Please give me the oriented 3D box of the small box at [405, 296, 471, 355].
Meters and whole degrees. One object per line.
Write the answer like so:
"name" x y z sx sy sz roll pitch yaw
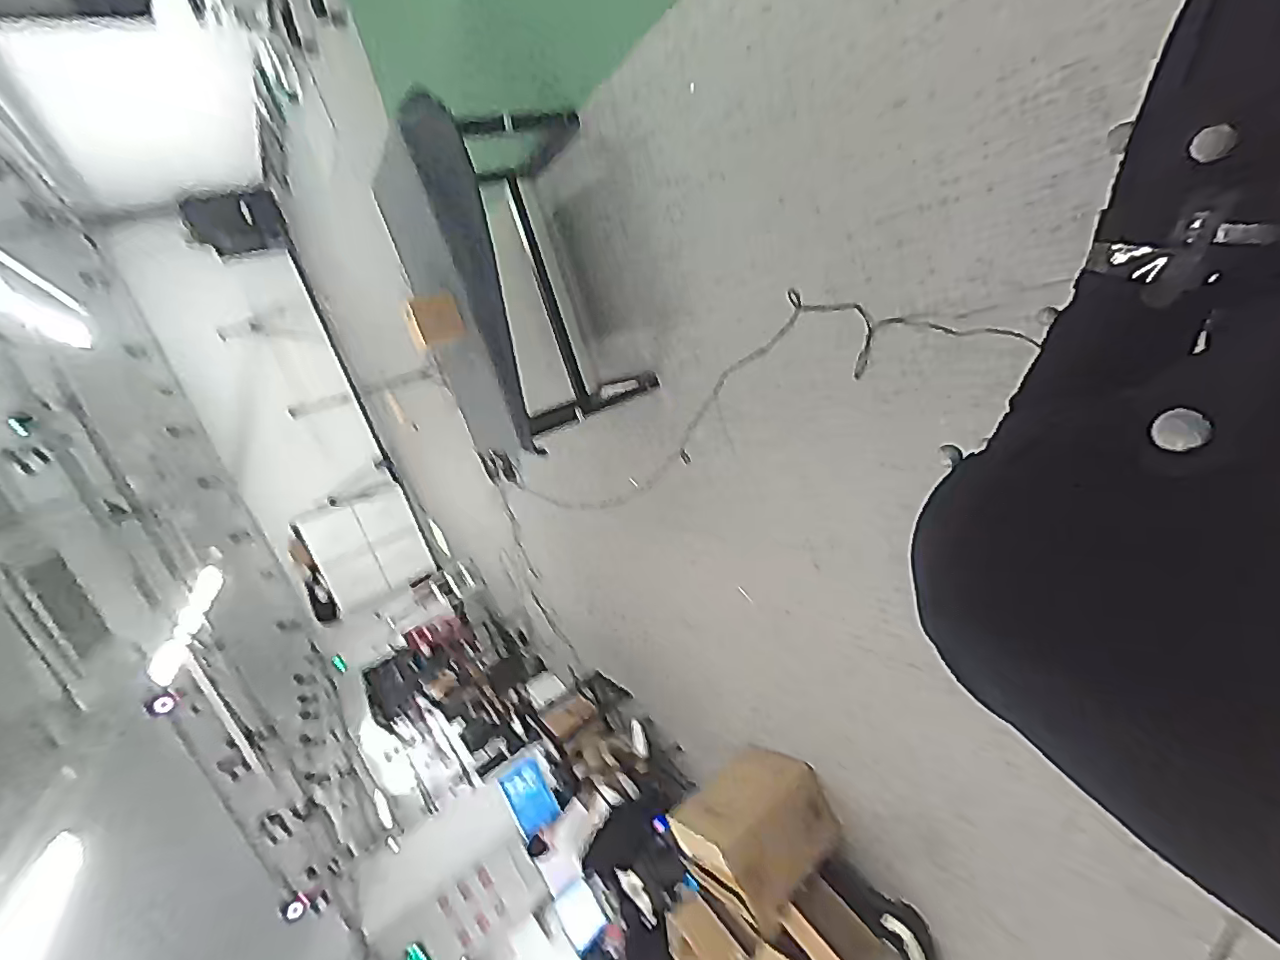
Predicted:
"small box" -0.784 -0.604 2.099 0.168 0.176 0.179 1 113 58
